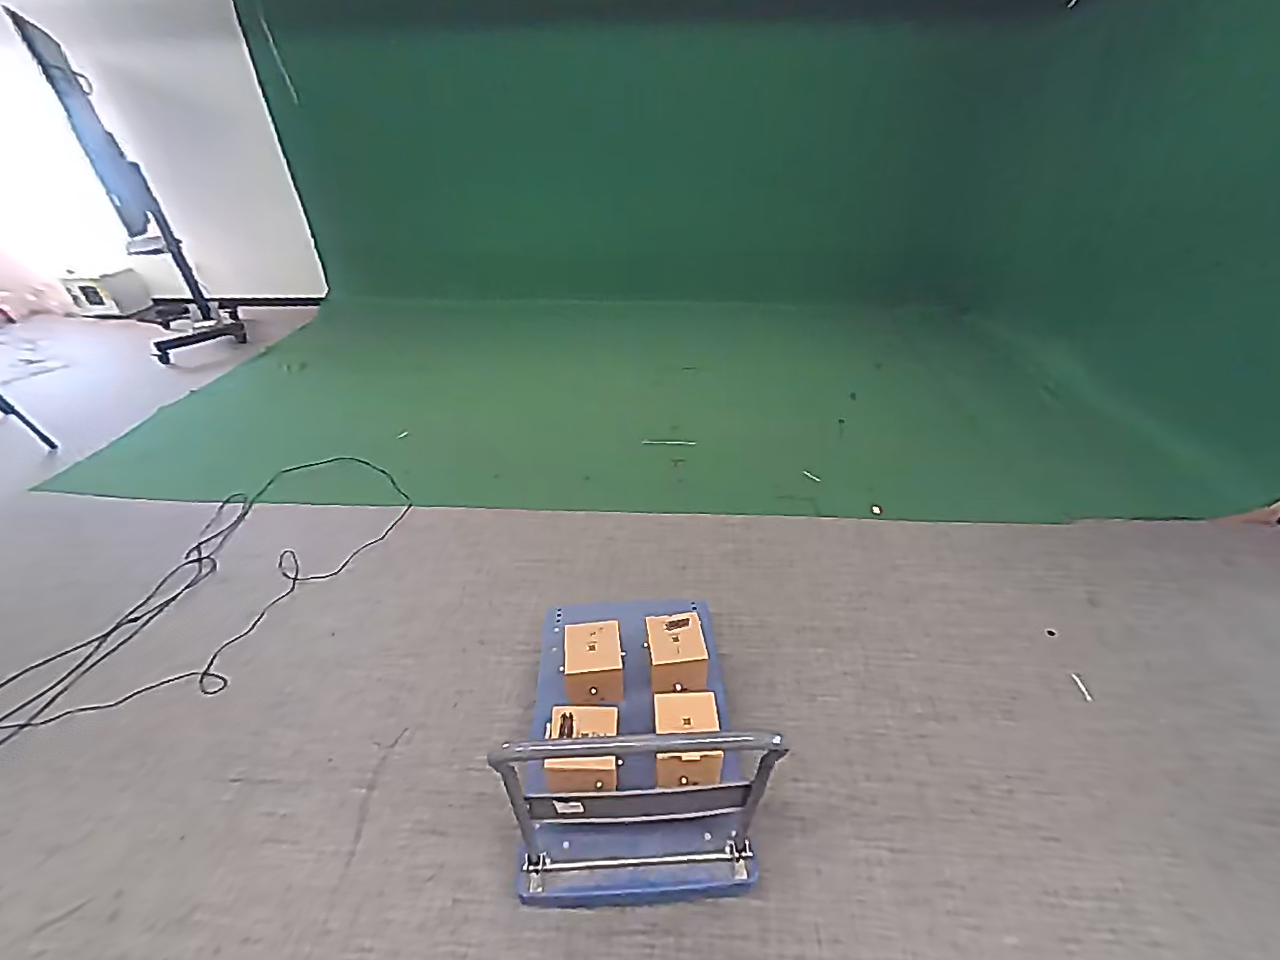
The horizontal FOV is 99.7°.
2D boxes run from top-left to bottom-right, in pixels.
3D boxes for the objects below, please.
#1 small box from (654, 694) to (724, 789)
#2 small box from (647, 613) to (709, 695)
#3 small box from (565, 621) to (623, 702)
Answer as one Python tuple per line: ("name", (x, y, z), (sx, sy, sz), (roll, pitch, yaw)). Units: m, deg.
("small box", (0.124, 0.700, 1.449), (0.168, 0.176, 0.179), (-1, 37, -1))
("small box", (0.111, 0.538, 1.666), (0.168, 0.176, 0.179), (-5, 38, -4))
("small box", (-0.139, 0.557, 1.644), (0.168, 0.176, 0.179), (-3, 37, -5))
